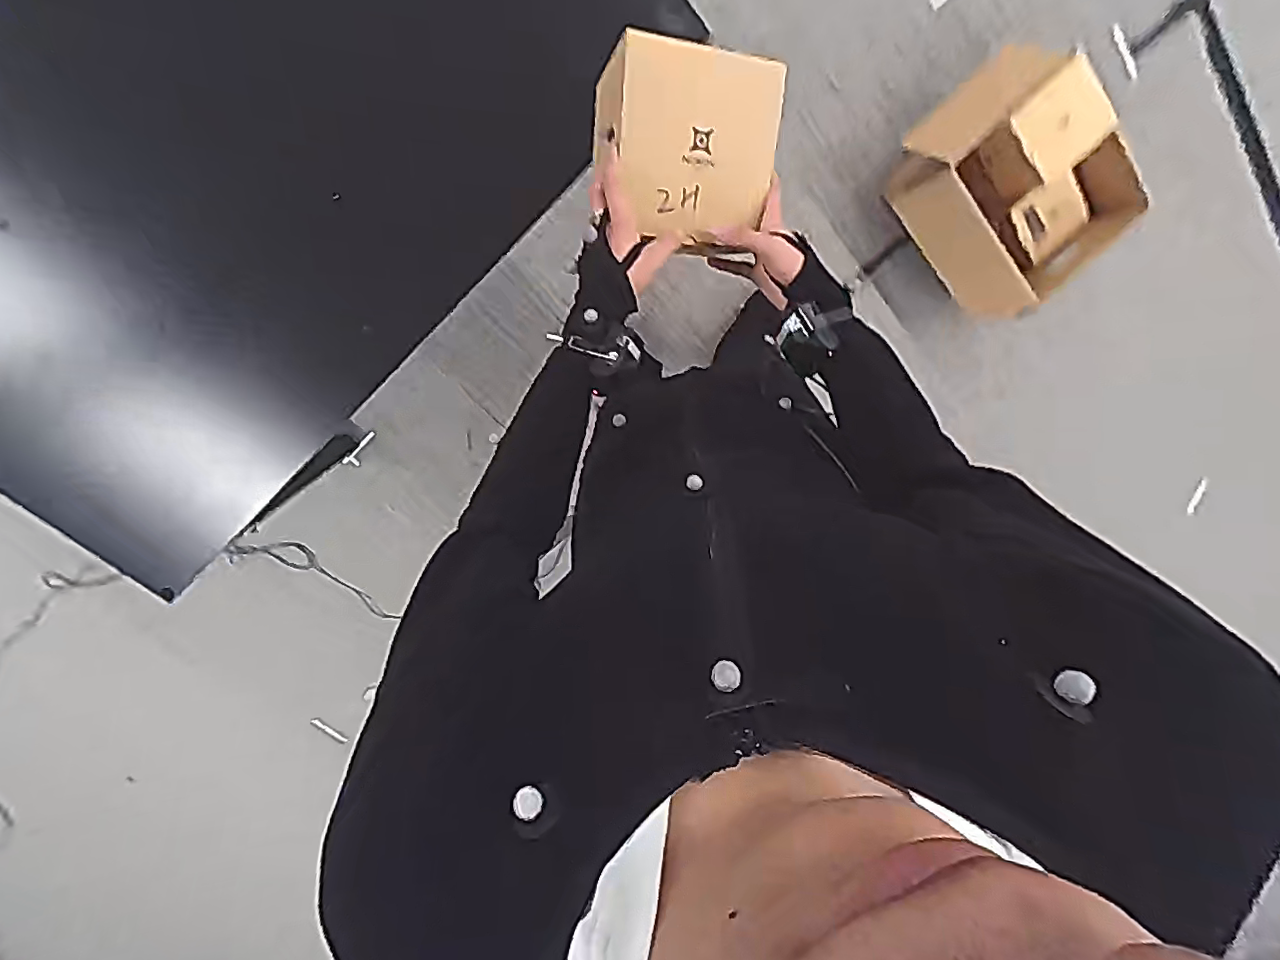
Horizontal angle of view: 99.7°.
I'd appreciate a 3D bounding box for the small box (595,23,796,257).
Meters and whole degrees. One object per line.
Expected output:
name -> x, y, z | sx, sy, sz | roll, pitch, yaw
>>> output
small box -> 0.046, -0.355, 0.606 | 0.168, 0.176, 0.179 | 1, 110, -15
